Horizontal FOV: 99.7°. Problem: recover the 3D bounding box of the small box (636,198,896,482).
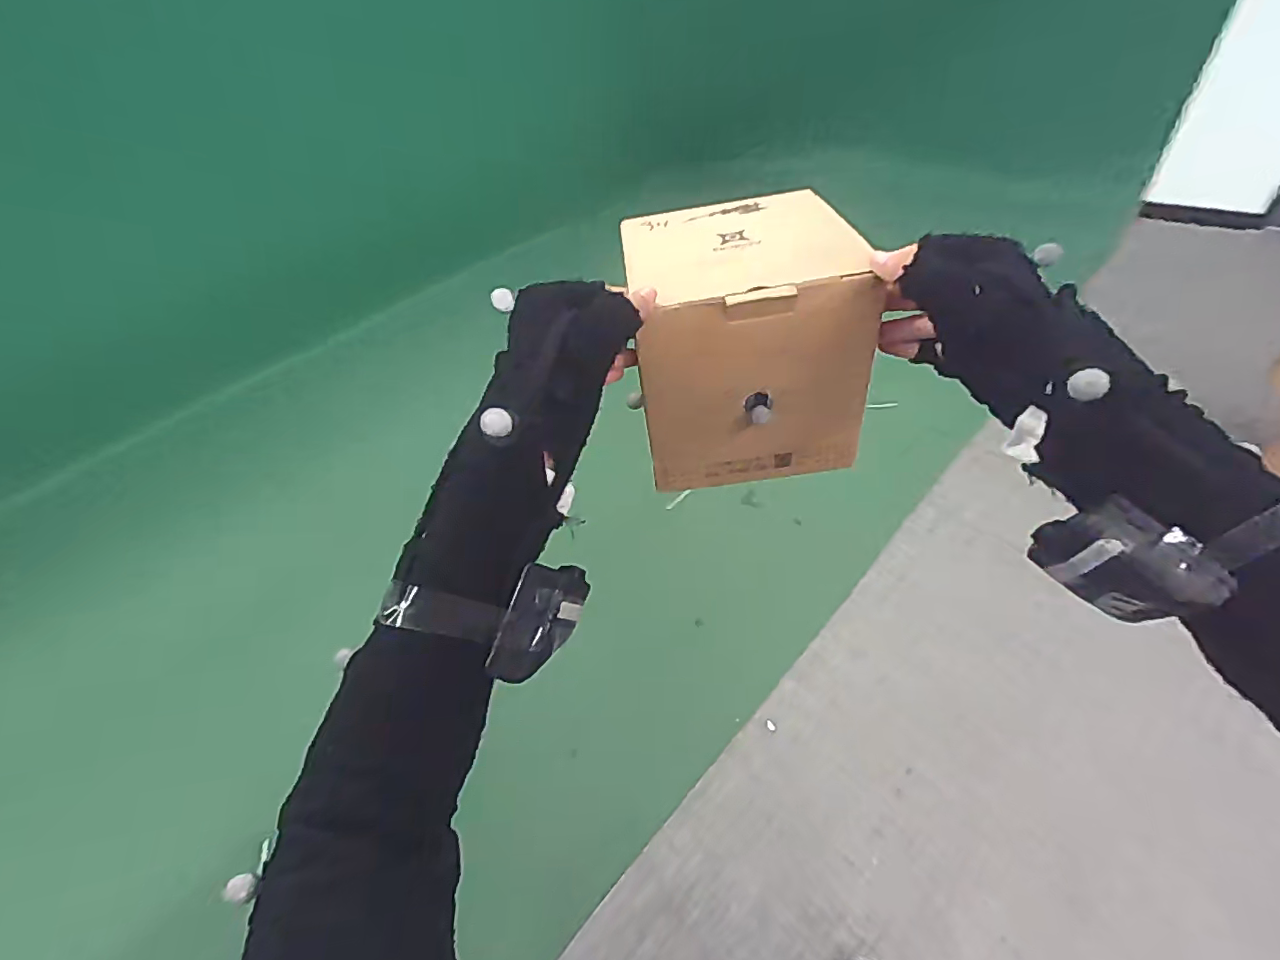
[{"bbox_3d":[0.091,-0.112,0.459,0.168,0.176,0.179,-7,44,3],"label":"small box"}]
